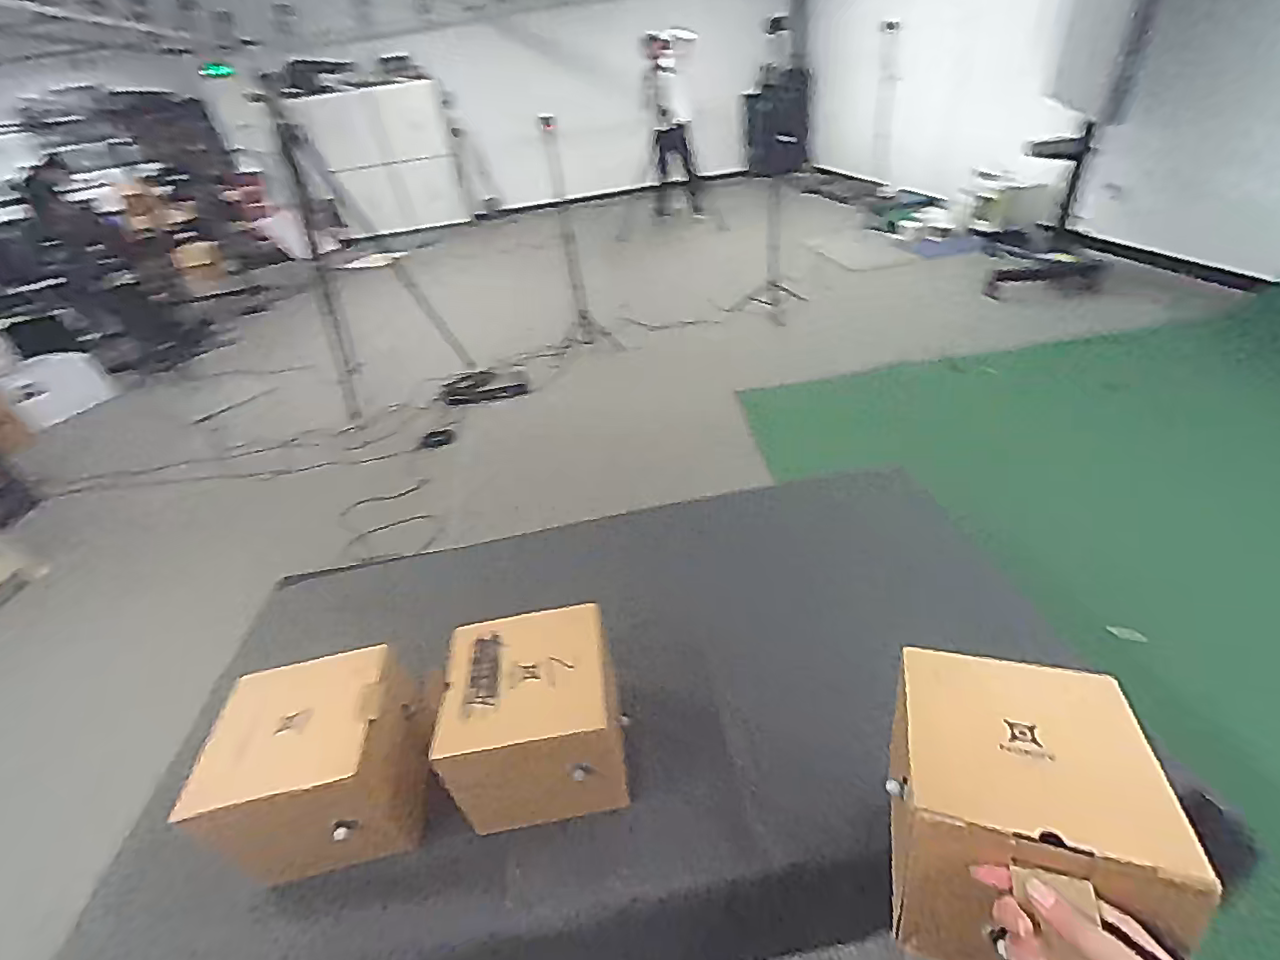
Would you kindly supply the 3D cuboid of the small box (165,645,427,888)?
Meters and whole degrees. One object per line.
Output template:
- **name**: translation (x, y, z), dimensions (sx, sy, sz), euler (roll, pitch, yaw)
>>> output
- **small box**: translation (-0.362, 0.323, 0.618), dimensions (0.179, 0.176, 0.168), euler (-13, 34, -5)

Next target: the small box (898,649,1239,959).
- **small box**: translation (0.310, 0.274, 0.443), dimensions (0.168, 0.176, 0.179), euler (4, 25, 23)
